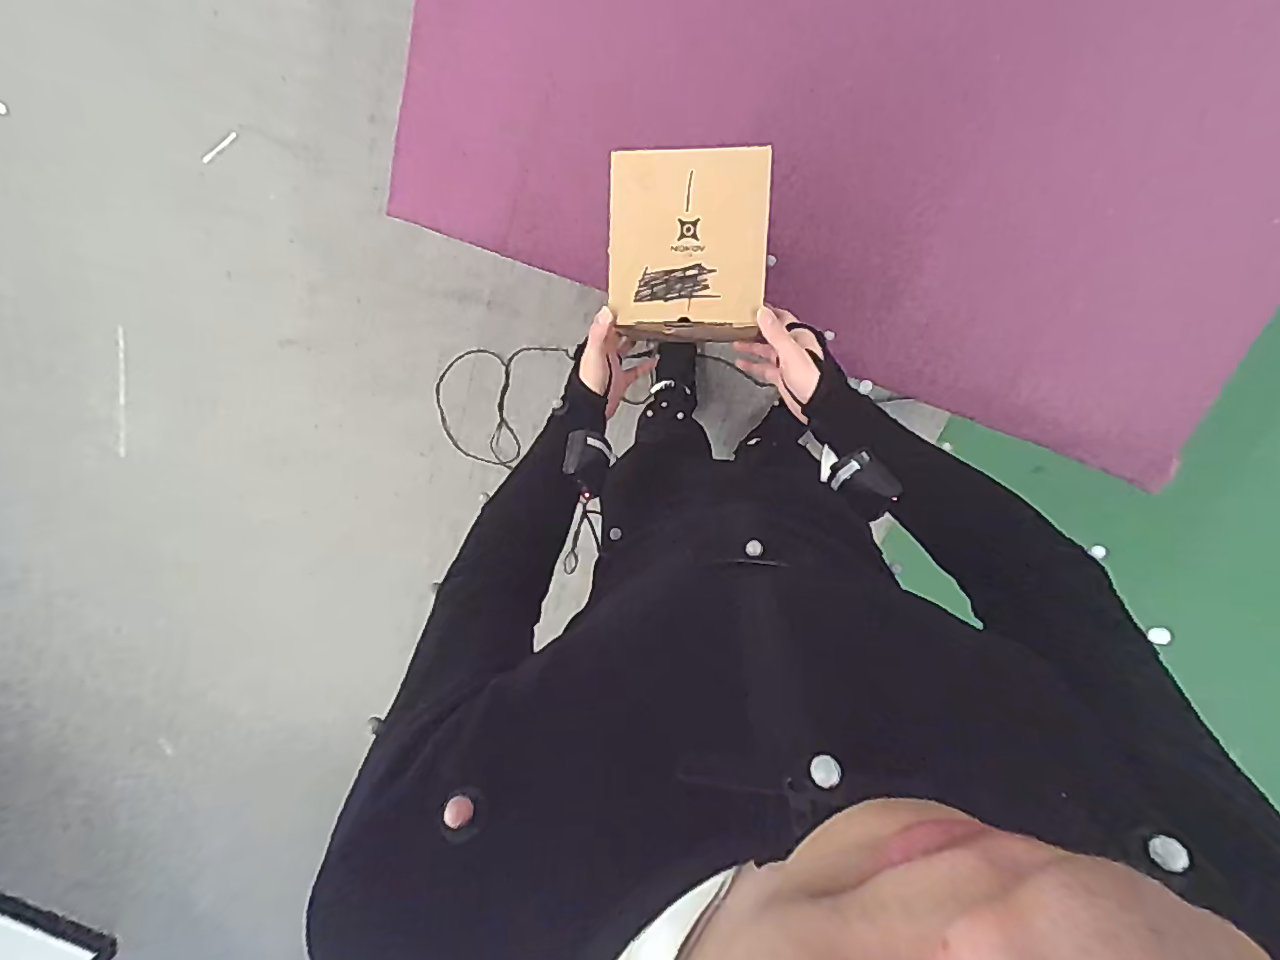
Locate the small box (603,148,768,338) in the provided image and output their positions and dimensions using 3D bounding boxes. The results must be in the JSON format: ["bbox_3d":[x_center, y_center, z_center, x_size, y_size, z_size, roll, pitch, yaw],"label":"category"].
[{"bbox_3d":[0.054,-0.264,0.640,0.168,0.176,0.179,3,100,6],"label":"small box"}]
